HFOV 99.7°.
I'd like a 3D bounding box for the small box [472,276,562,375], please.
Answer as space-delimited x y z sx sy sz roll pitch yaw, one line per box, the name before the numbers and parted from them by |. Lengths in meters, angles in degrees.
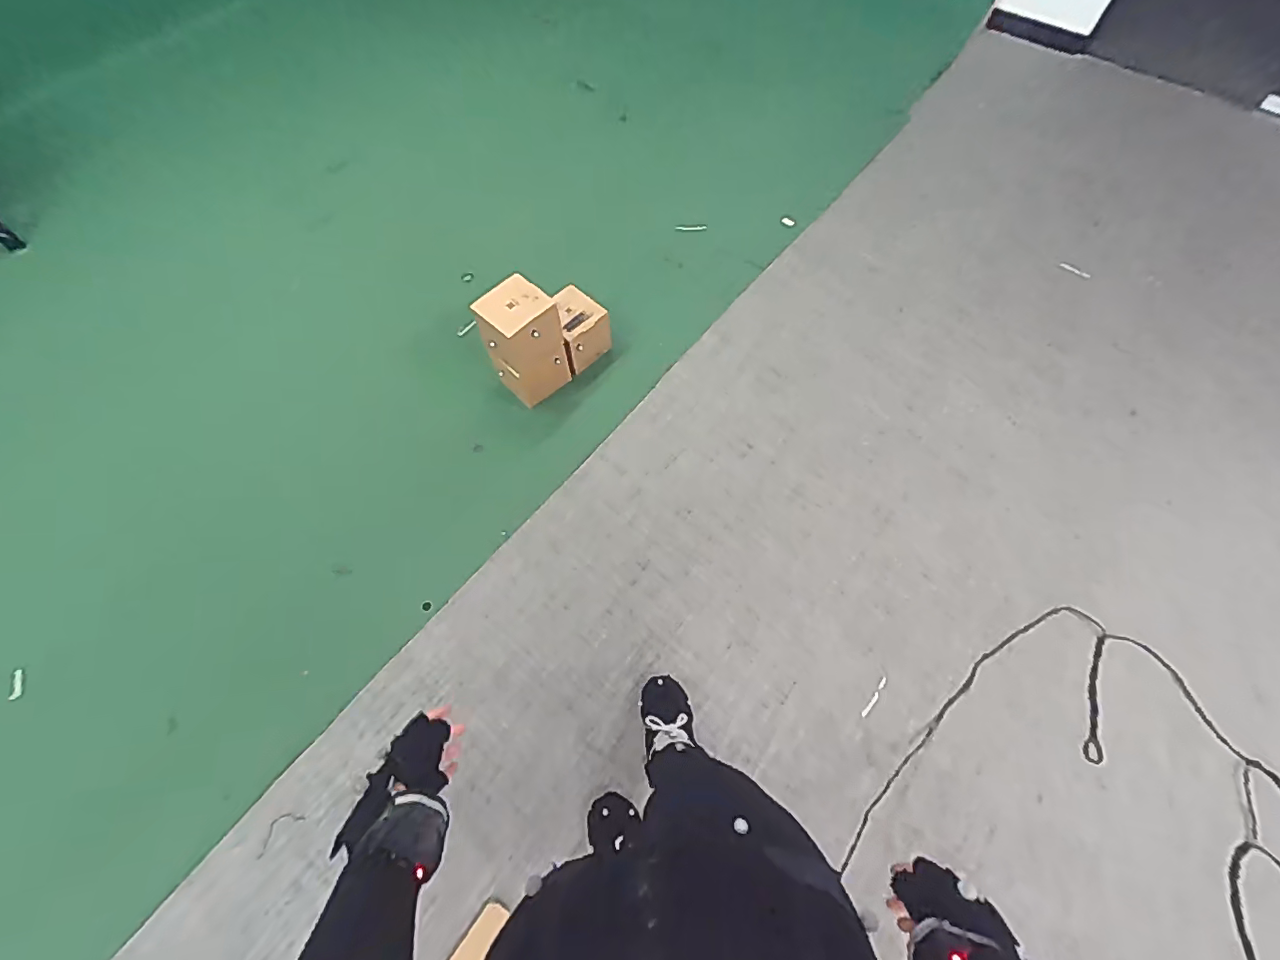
small box | -0.341 -0.433 1.538 0.168 0.176 0.179 40 69 18
